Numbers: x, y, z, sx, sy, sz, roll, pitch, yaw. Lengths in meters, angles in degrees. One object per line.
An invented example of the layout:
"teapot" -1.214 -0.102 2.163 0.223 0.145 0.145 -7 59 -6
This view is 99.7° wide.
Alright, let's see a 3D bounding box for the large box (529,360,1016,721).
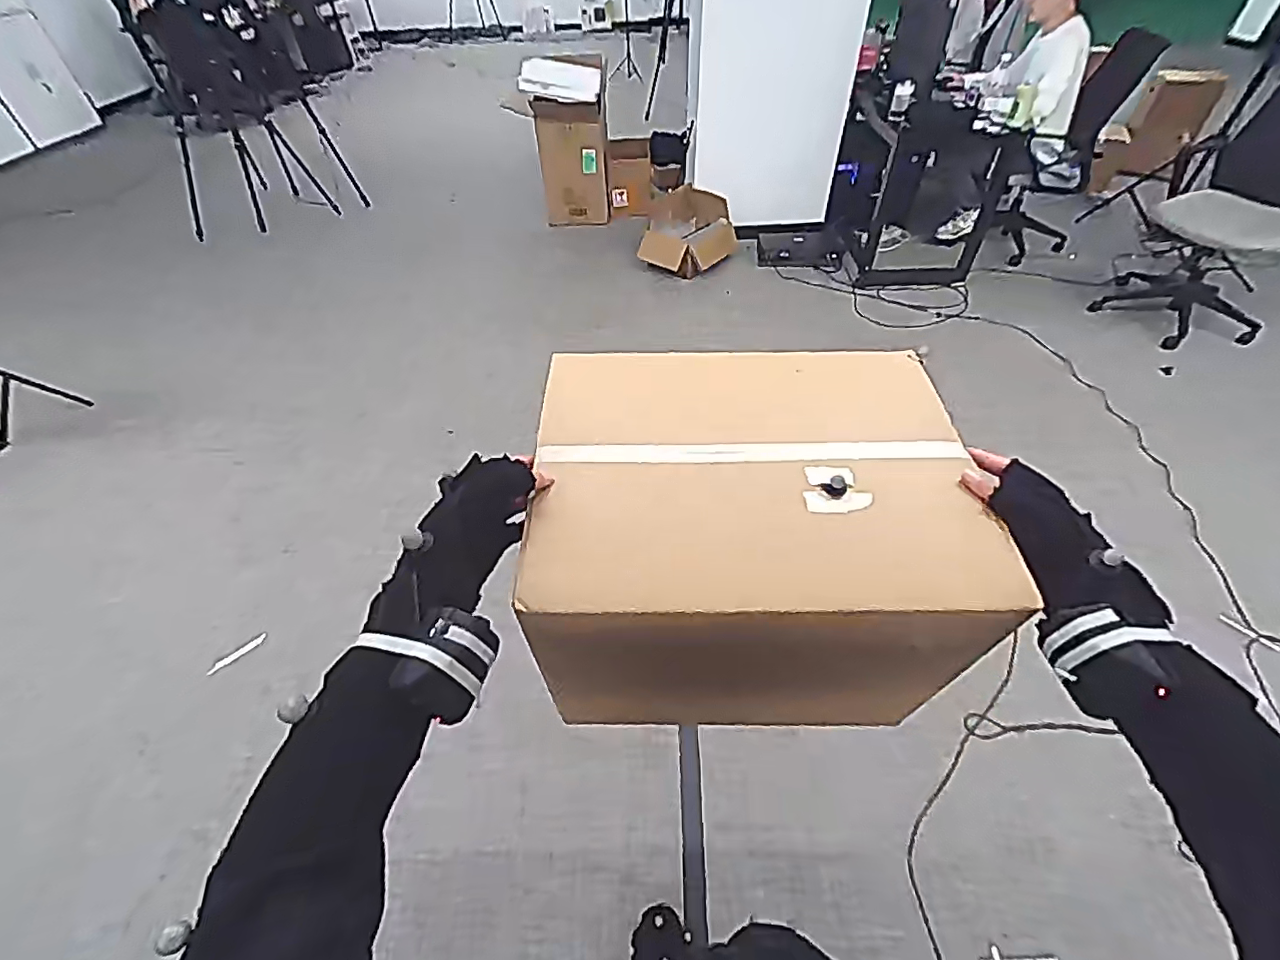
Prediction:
"large box" 0.104 0.078 0.640 0.408 0.320 0.320 -1 51 0
